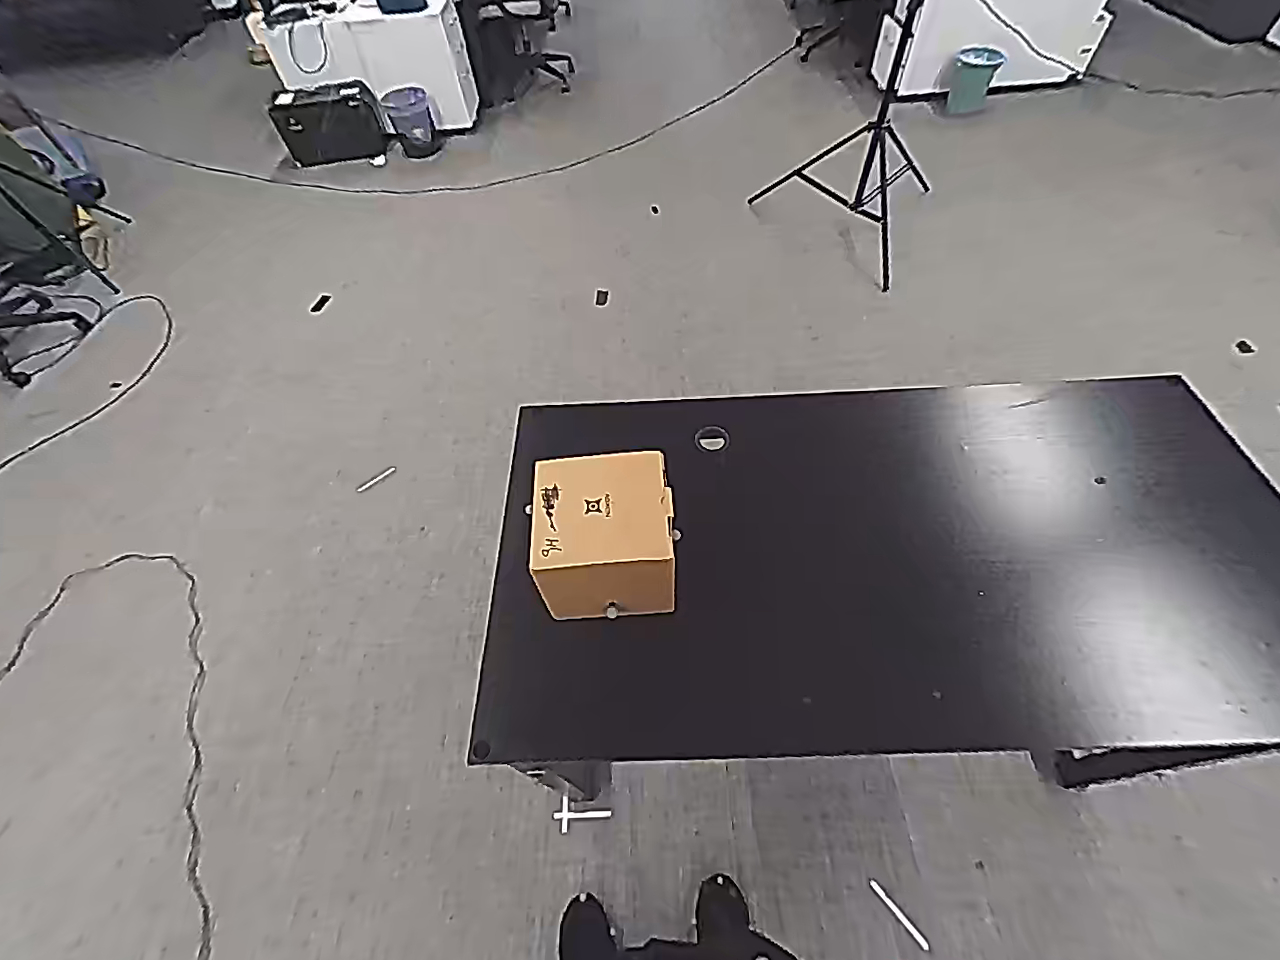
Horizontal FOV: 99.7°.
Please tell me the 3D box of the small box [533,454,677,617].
[{"bbox_3d":[-0.045,0.082,0.759,0.179,0.176,0.168,-4,54,0],"label":"small box"}]
